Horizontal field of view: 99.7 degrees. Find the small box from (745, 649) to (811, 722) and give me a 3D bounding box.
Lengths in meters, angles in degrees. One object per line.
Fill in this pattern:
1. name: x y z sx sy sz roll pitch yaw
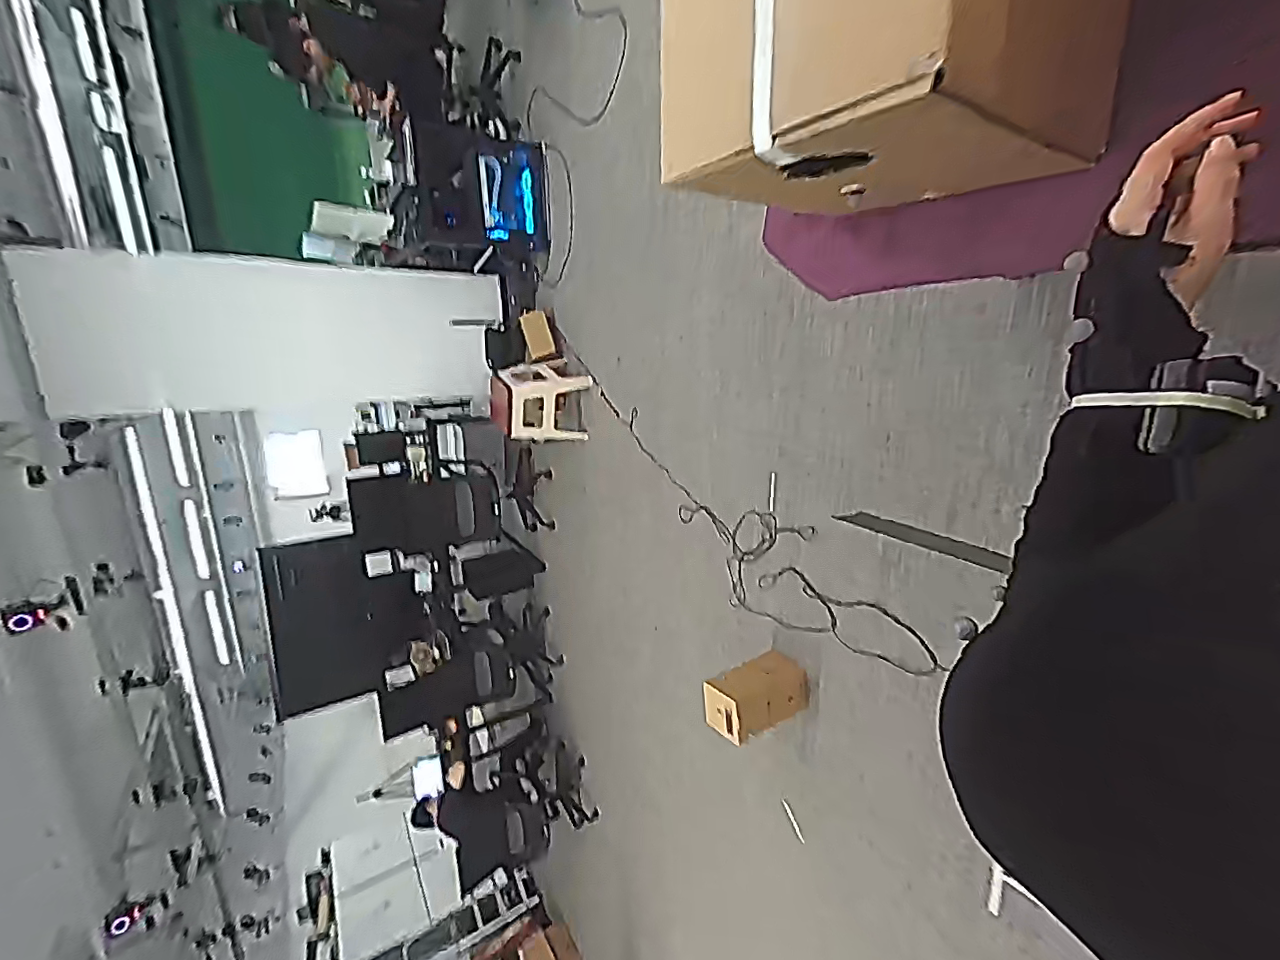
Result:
1. small box: 0.511 0.752 2.002 0.179 0.176 0.168 20 115 56
